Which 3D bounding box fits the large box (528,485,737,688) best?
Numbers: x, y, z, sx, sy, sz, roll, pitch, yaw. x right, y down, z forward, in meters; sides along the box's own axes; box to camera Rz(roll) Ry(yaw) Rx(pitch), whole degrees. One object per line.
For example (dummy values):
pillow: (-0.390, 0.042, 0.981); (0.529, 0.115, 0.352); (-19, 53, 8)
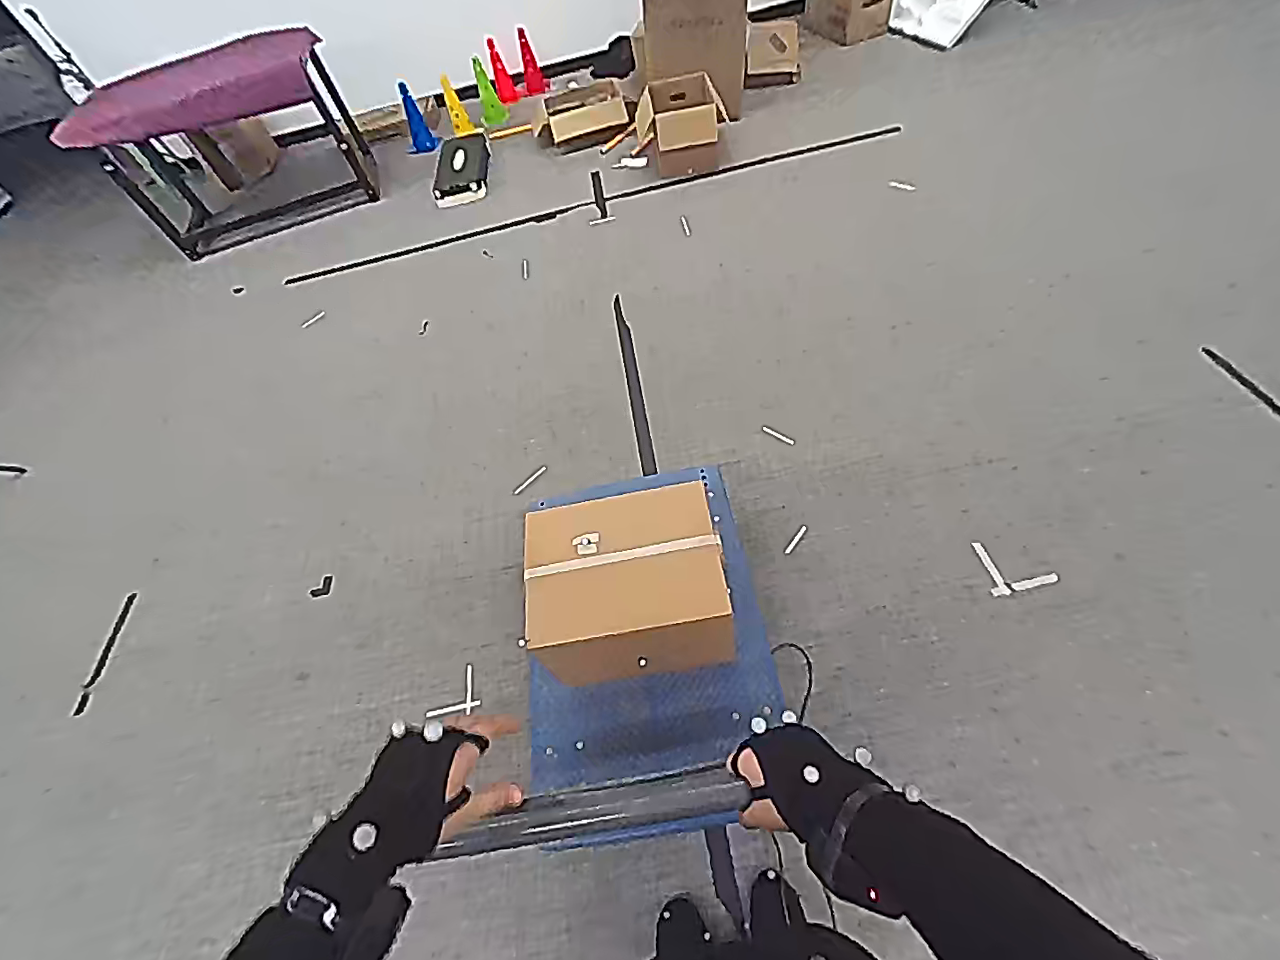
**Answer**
large box: (-0.012, 0.257, 1.250); (0.408, 0.320, 0.320); (-12, 54, 4)
